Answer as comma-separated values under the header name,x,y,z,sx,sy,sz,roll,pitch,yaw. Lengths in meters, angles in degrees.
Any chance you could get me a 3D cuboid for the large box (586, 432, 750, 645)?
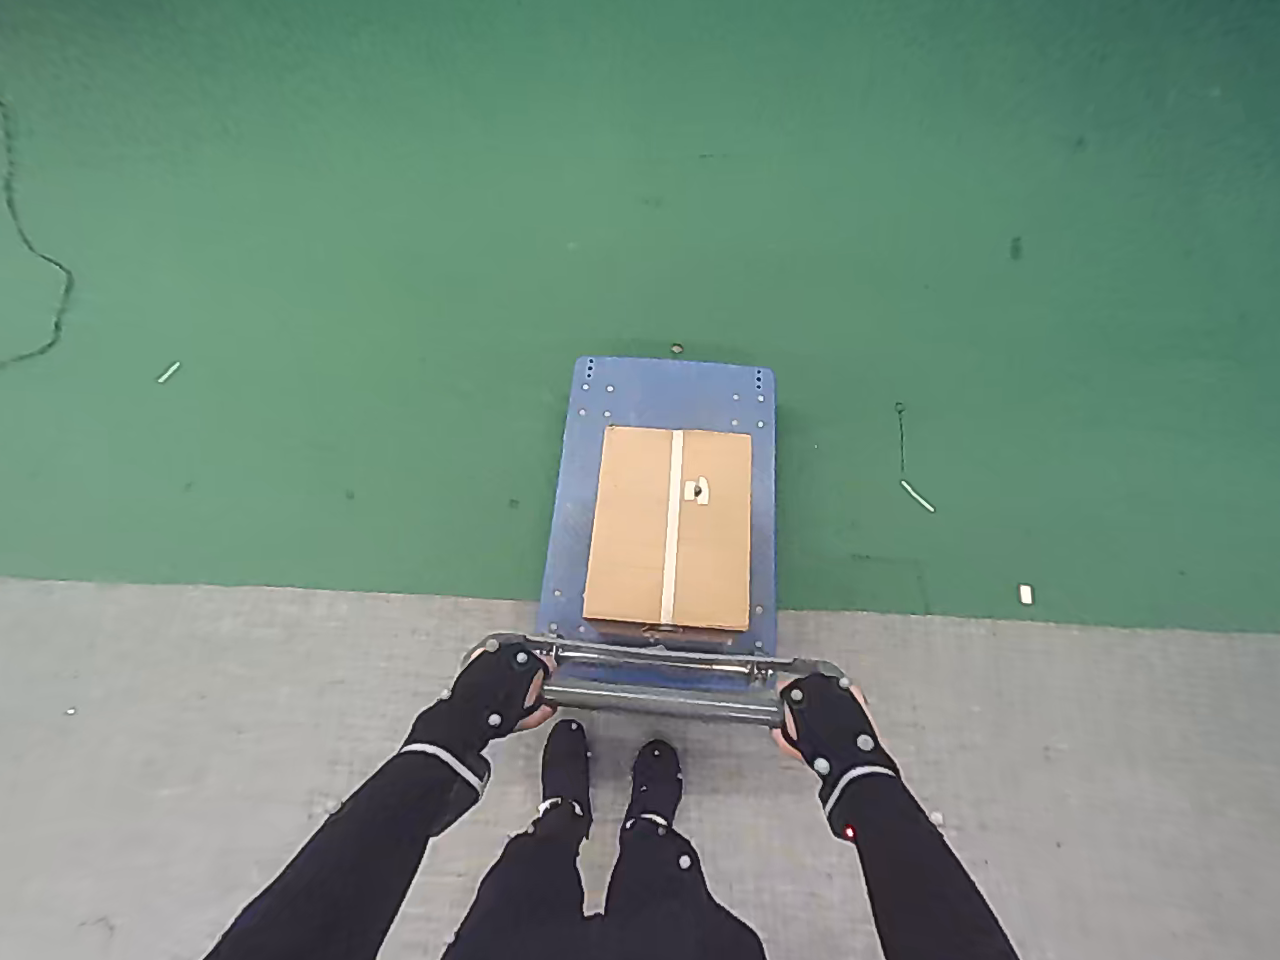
name,x,y,z,sx,sy,sz,roll,pitch,yaw
large box,0.068,0.146,1.216,0.320,0.320,0.408,5,69,2
